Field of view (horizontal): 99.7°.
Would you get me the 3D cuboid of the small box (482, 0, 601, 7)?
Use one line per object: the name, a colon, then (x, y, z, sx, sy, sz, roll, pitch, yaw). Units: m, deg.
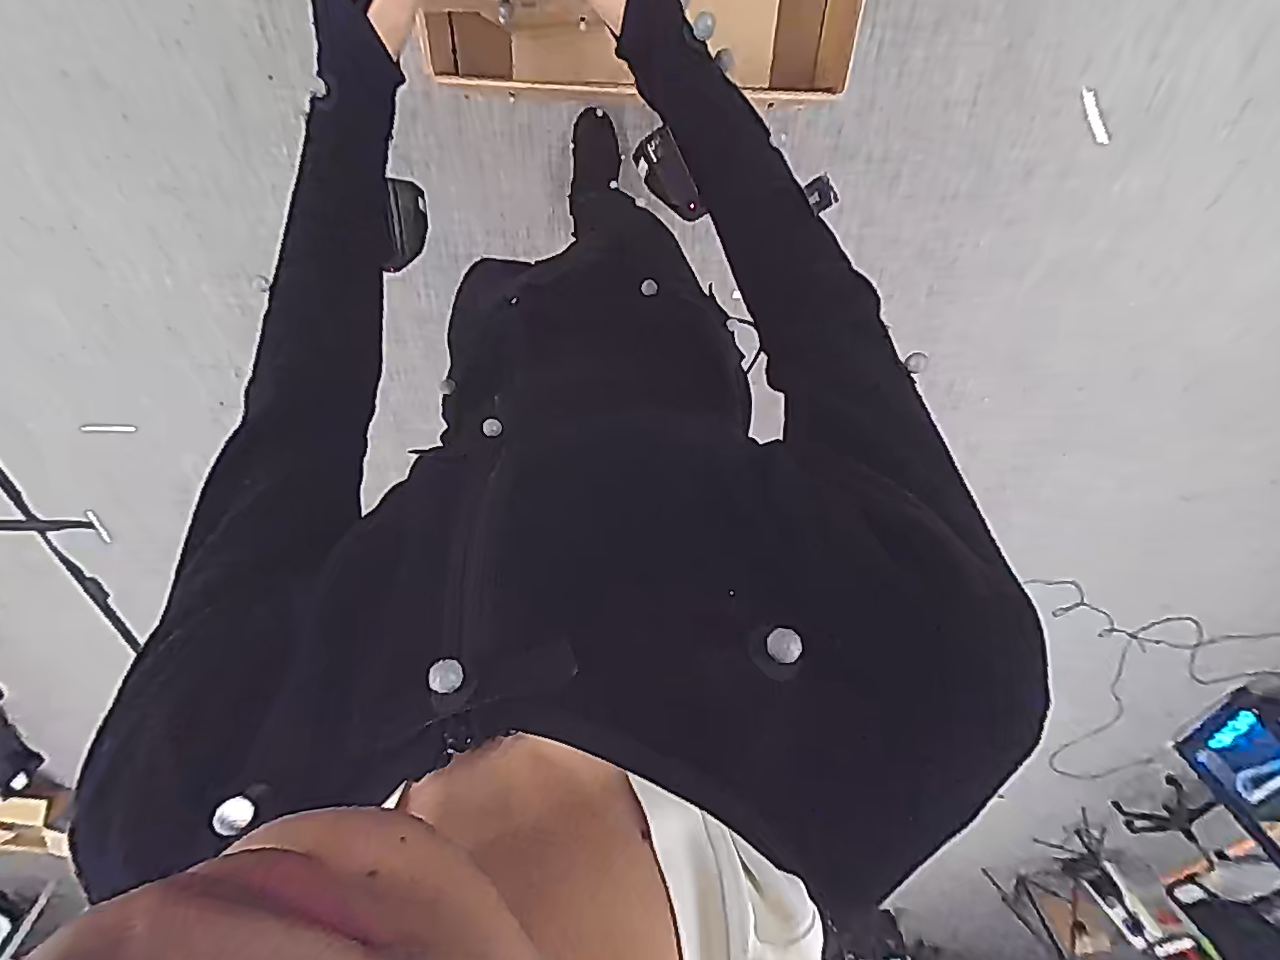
small box: (-0.127, -0.645, 0.596, 0.168, 0.176, 0.179, -2, 123, -1)

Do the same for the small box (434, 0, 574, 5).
small box: (-0.124, -0.510, 0.425, 0.168, 0.176, 0.179, -7, 121, -7)

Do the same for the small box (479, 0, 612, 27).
small box: (-0.130, -0.733, 0.734, 0.179, 0.176, 0.168, -3, 124, 0)
